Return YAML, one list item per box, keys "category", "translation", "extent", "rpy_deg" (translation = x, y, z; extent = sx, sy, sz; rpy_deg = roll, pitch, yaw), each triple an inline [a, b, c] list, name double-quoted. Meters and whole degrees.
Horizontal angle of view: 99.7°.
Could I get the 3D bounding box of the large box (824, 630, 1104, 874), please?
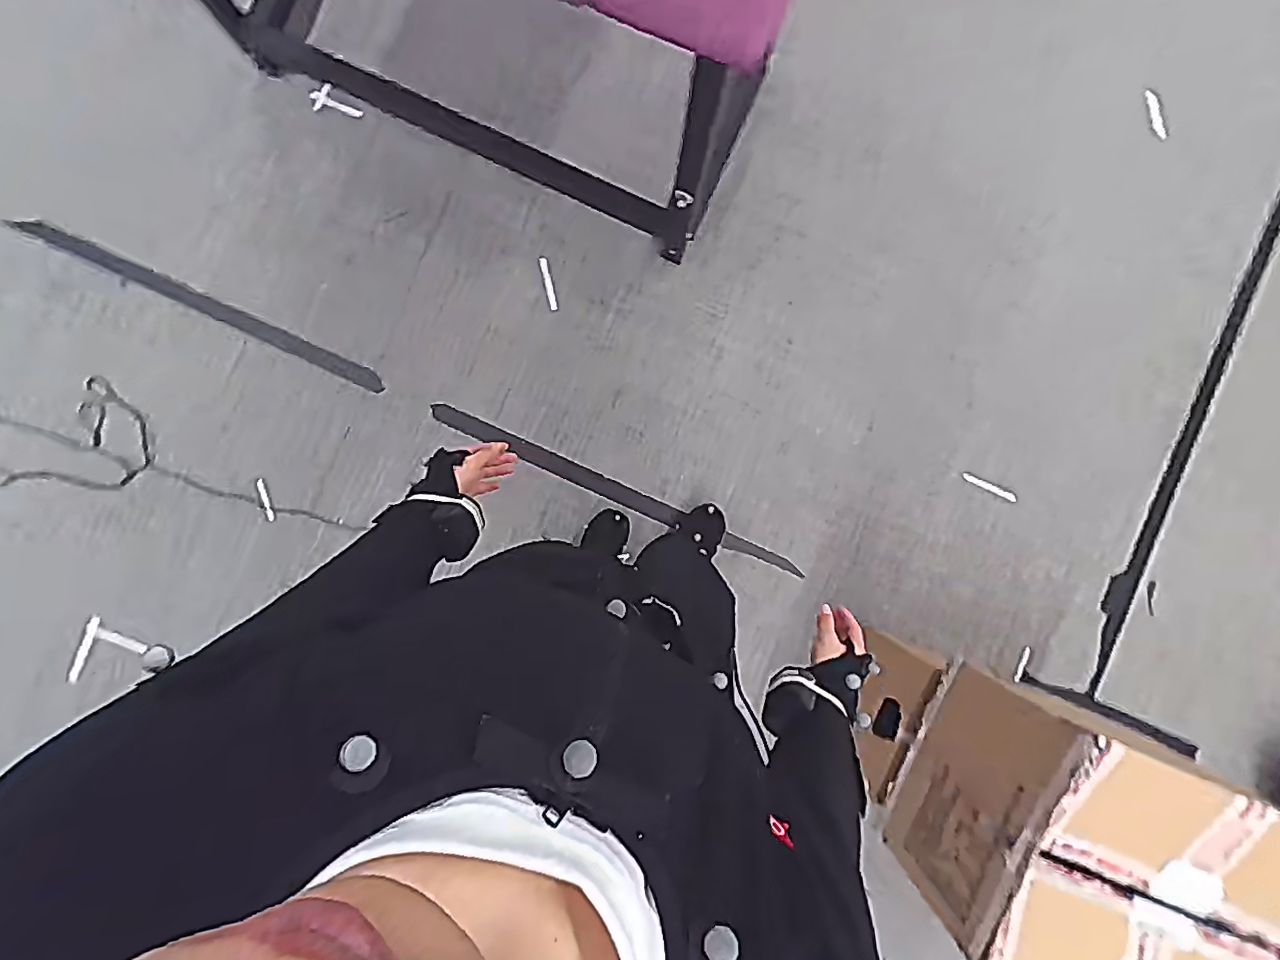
- category: "large box"
  translation: [0.716, 0.600, 1.258]
  extent: [0.408, 0.320, 0.320]
  rpy_deg: [23, 89, -1]
